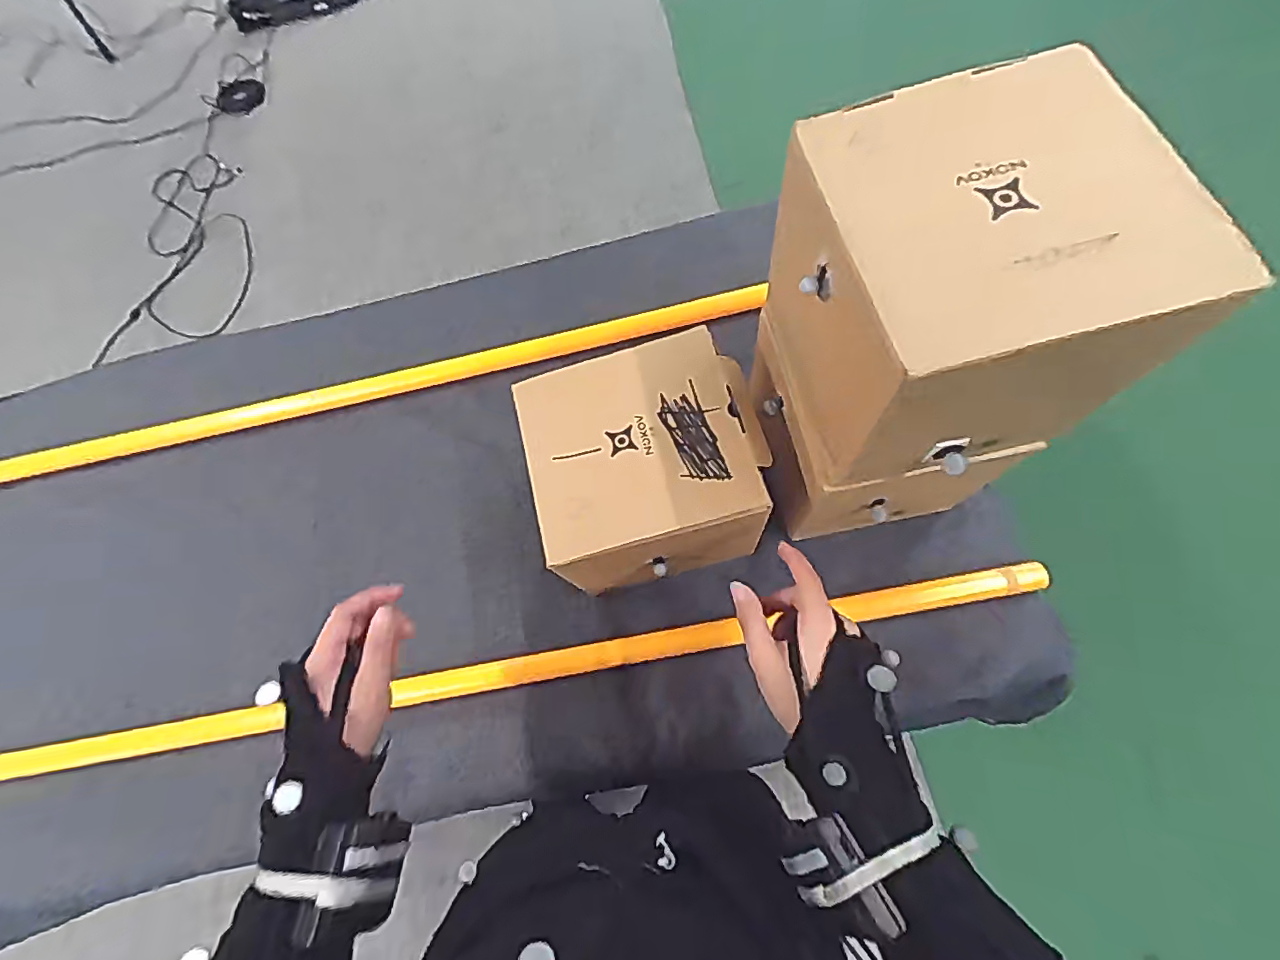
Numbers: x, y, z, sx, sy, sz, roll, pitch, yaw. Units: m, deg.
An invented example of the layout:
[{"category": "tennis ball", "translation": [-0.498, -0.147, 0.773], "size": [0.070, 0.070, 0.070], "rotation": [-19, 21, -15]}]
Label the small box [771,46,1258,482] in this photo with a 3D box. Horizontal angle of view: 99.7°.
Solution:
[{"category": "small box", "translation": [0.192, -0.120, 0.351], "size": [0.168, 0.176, 0.179], "rotation": [-15, 69, 3]}]
